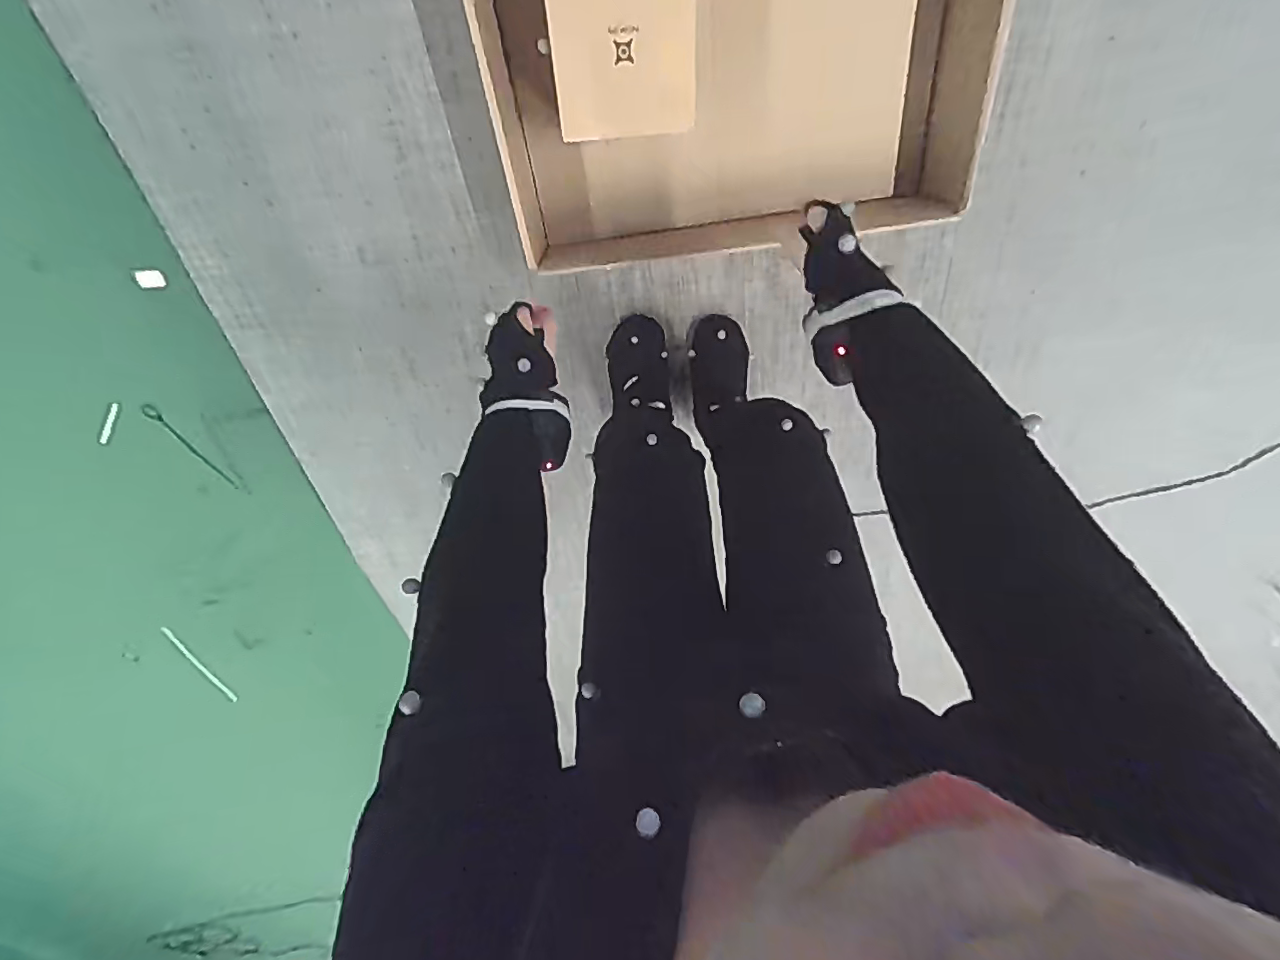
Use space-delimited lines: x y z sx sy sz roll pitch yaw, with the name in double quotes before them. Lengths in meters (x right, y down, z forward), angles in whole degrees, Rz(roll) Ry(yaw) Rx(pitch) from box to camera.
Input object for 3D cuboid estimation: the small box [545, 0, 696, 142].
"small box" -0.019 -0.534 0.669 0.168 0.176 0.179 -4 126 1
